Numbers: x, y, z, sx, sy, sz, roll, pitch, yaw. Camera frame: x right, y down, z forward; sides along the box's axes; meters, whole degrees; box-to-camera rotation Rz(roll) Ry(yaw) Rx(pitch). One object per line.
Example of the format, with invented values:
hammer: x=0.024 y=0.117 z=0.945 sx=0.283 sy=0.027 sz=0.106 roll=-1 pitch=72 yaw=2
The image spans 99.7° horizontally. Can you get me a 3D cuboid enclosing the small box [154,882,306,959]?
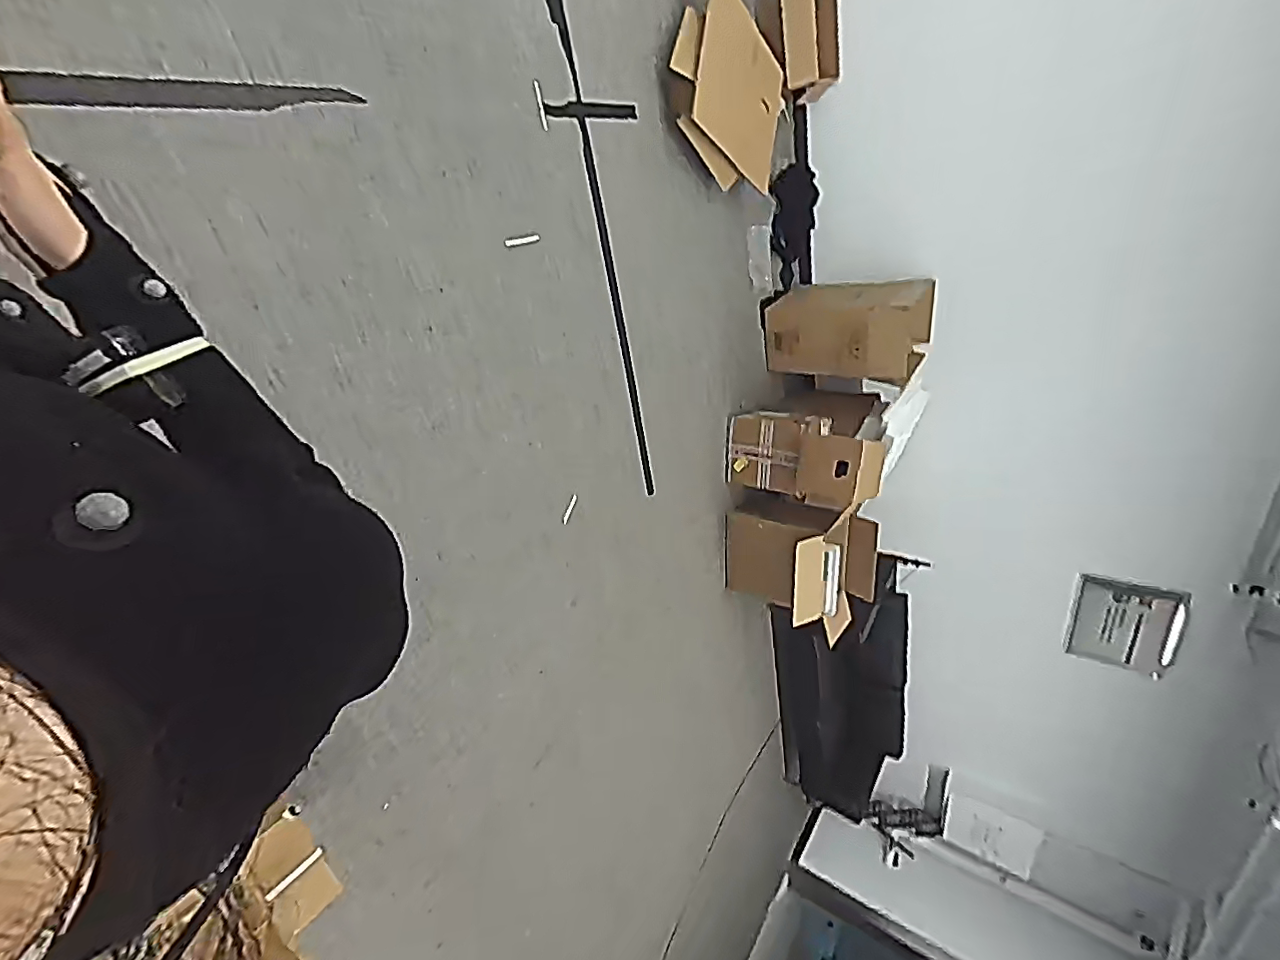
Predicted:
small box: x=-0.816 y=0.962 z=1.075 sx=0.179 sy=0.176 sz=0.168 roll=-38 pitch=125 yaw=-41

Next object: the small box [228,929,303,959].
small box: x=-0.687 y=0.975 z=0.977 sx=0.168 sy=0.176 sz=0.179 roll=-37 pitch=125 yaw=-42
